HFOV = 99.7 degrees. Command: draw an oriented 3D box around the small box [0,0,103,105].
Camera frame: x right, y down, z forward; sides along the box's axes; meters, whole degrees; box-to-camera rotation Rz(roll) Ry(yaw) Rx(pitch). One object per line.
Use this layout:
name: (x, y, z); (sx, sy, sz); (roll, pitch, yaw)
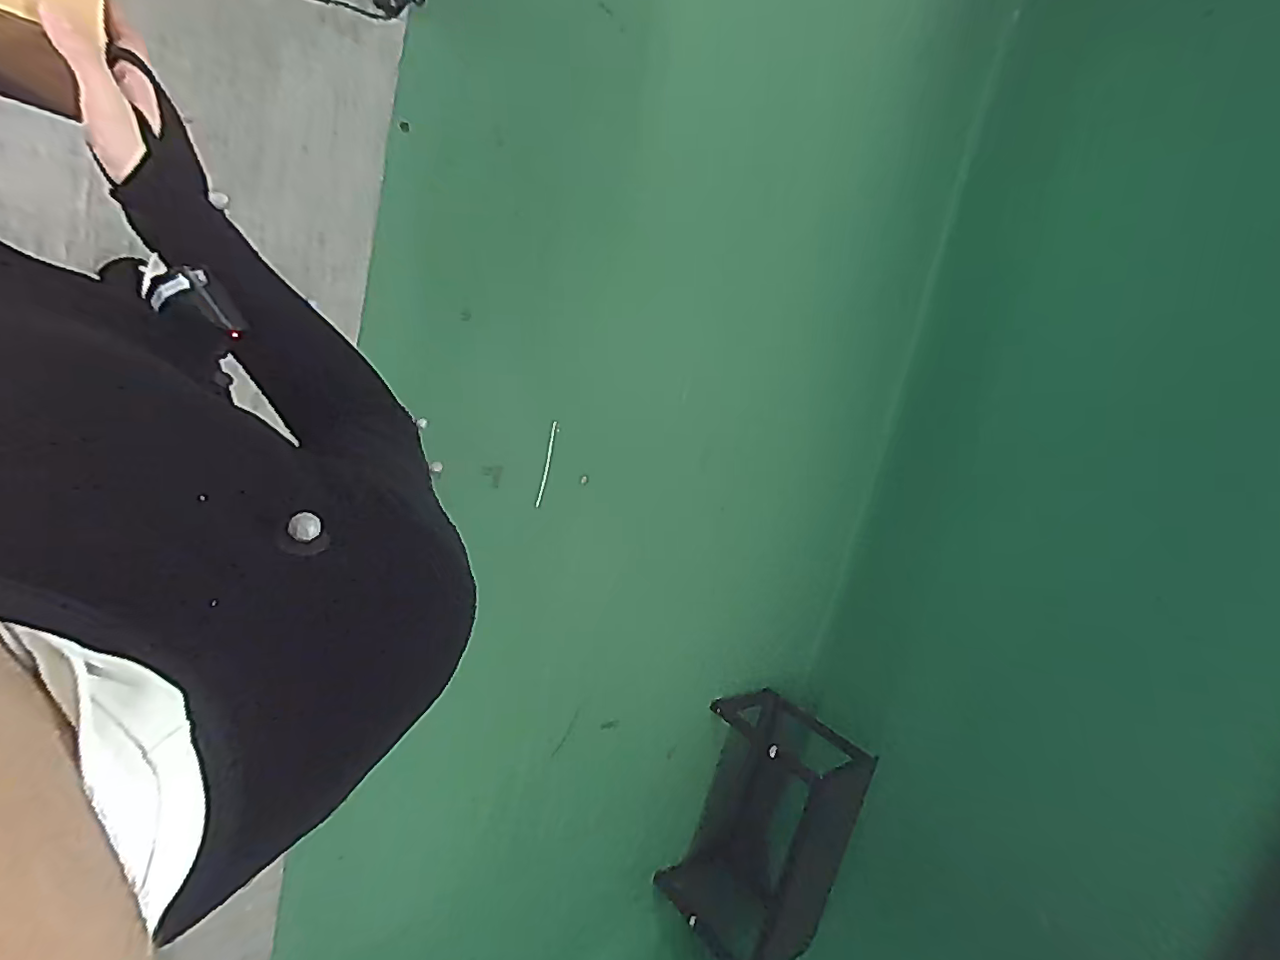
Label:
small box: (-0.489, -0.410, 0.374); (0.168, 0.176, 0.179); (0, 99, -45)
